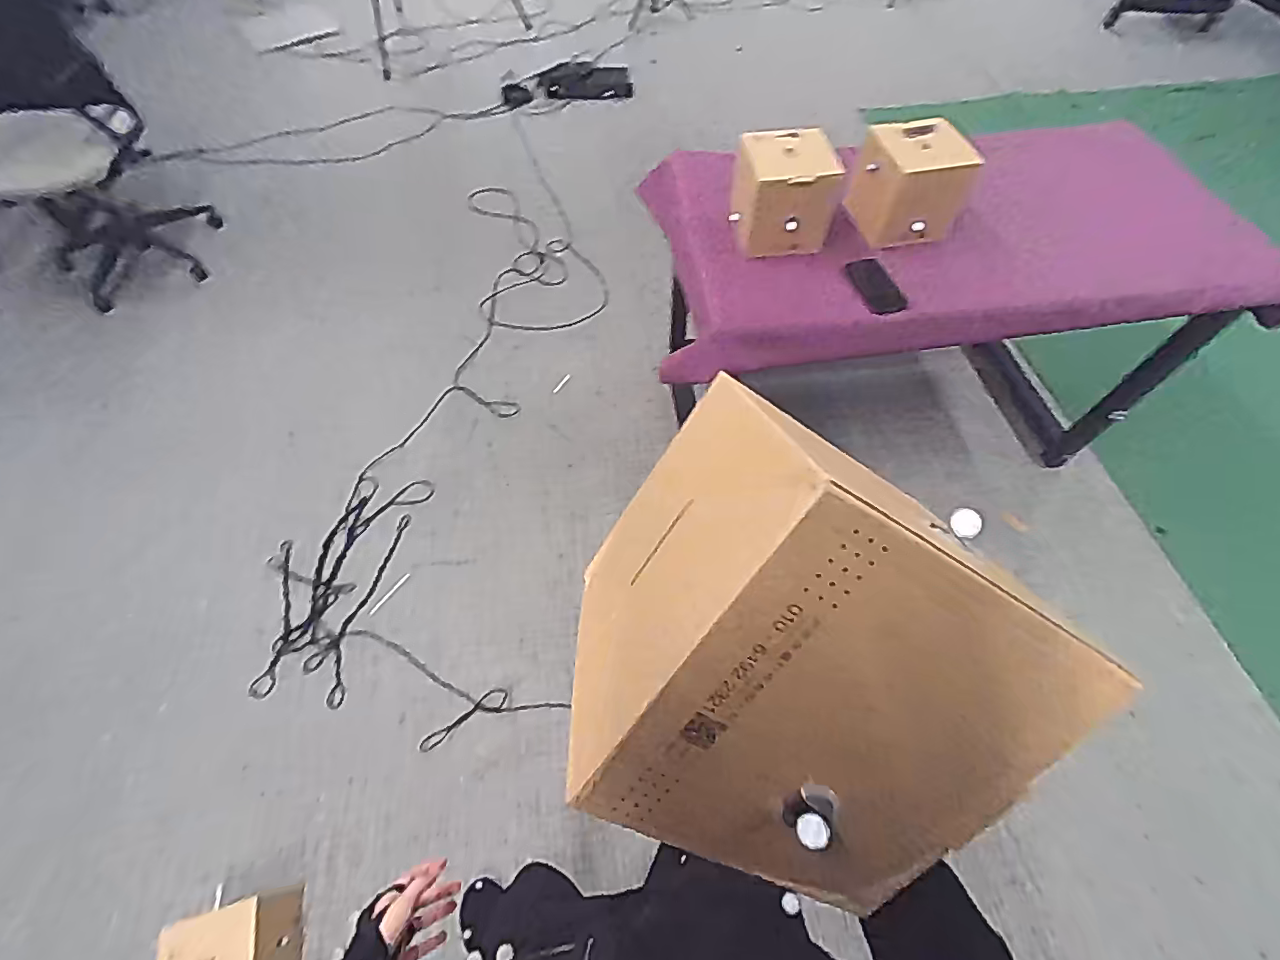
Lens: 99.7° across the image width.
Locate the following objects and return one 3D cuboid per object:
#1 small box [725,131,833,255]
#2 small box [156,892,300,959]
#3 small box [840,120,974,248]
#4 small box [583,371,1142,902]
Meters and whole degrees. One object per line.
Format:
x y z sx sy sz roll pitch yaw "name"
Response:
0.279 -0.589 1.125 0.168 0.176 0.179 -5 59 -3 "small box"
-0.796 0.936 1.054 0.179 0.176 0.168 -14 59 -7 "small box"
0.546 -0.619 1.138 0.168 0.176 0.179 -10 59 -5 "small box"
0.080 0.064 0.290 0.176 0.168 0.179 31 17 -14 "small box"
